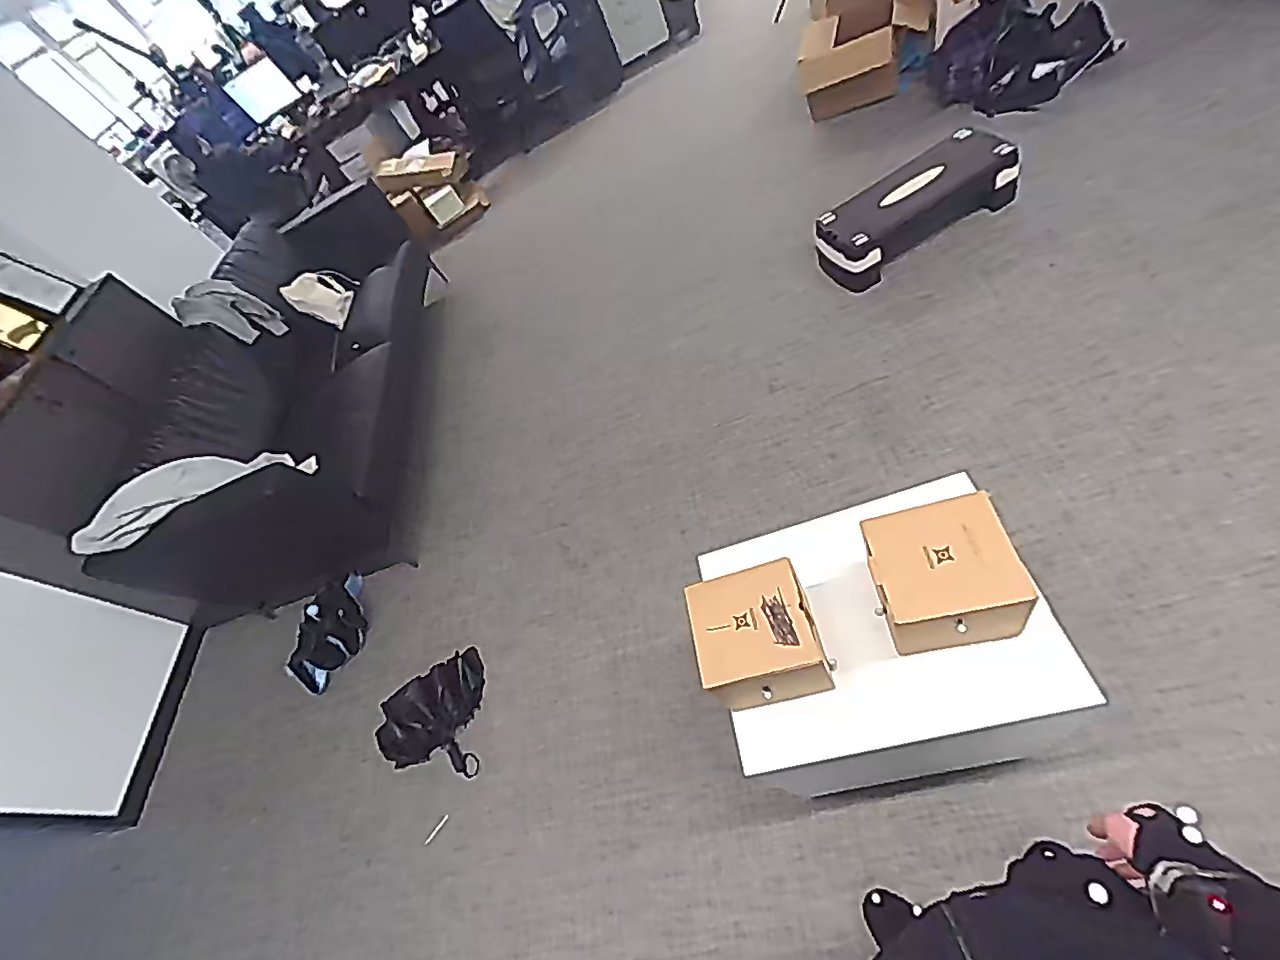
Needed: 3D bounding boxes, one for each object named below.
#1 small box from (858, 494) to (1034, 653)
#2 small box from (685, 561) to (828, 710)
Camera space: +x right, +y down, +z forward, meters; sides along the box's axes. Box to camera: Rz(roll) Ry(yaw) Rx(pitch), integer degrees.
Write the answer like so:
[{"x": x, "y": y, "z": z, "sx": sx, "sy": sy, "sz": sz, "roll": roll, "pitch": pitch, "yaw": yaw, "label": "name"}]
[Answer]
[{"x": 0.446, "y": 0.149, "z": 0.810, "sx": 0.179, "sy": 0.176, "sz": 0.168, "roll": -17, "pitch": 54, "yaw": 17, "label": "small box"}, {"x": 0.191, "y": 0.255, "z": 0.869, "sx": 0.179, "sy": 0.176, "sz": 0.168, "roll": -20, "pitch": 51, "yaw": 15, "label": "small box"}]
